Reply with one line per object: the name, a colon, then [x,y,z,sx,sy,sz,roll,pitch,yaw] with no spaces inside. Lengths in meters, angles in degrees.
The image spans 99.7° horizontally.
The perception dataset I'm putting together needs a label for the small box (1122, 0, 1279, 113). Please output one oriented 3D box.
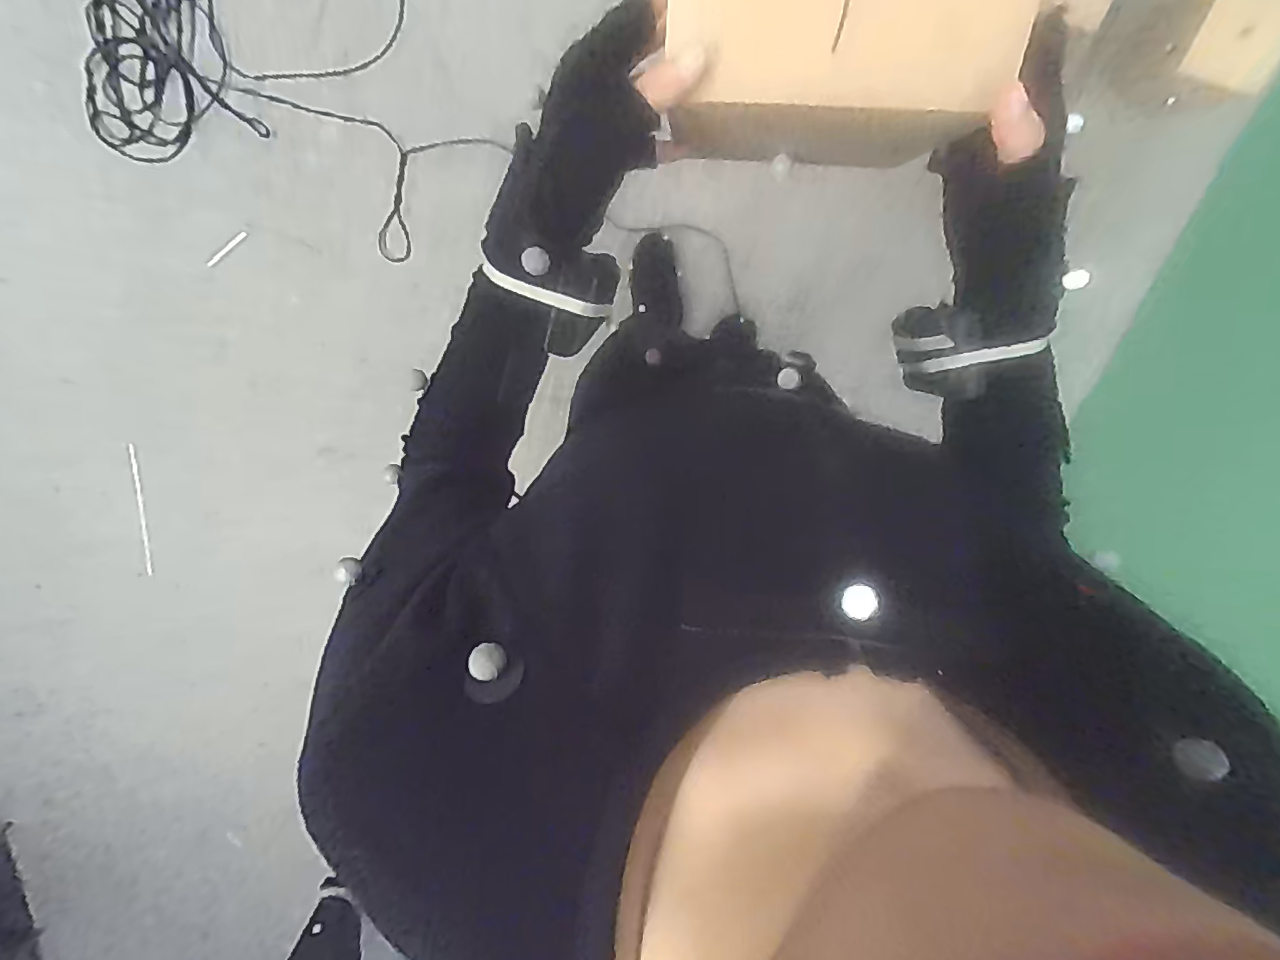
small box: [1.090,-0.834,1.033,0.168,0.176,0.179,15,113,-3]
